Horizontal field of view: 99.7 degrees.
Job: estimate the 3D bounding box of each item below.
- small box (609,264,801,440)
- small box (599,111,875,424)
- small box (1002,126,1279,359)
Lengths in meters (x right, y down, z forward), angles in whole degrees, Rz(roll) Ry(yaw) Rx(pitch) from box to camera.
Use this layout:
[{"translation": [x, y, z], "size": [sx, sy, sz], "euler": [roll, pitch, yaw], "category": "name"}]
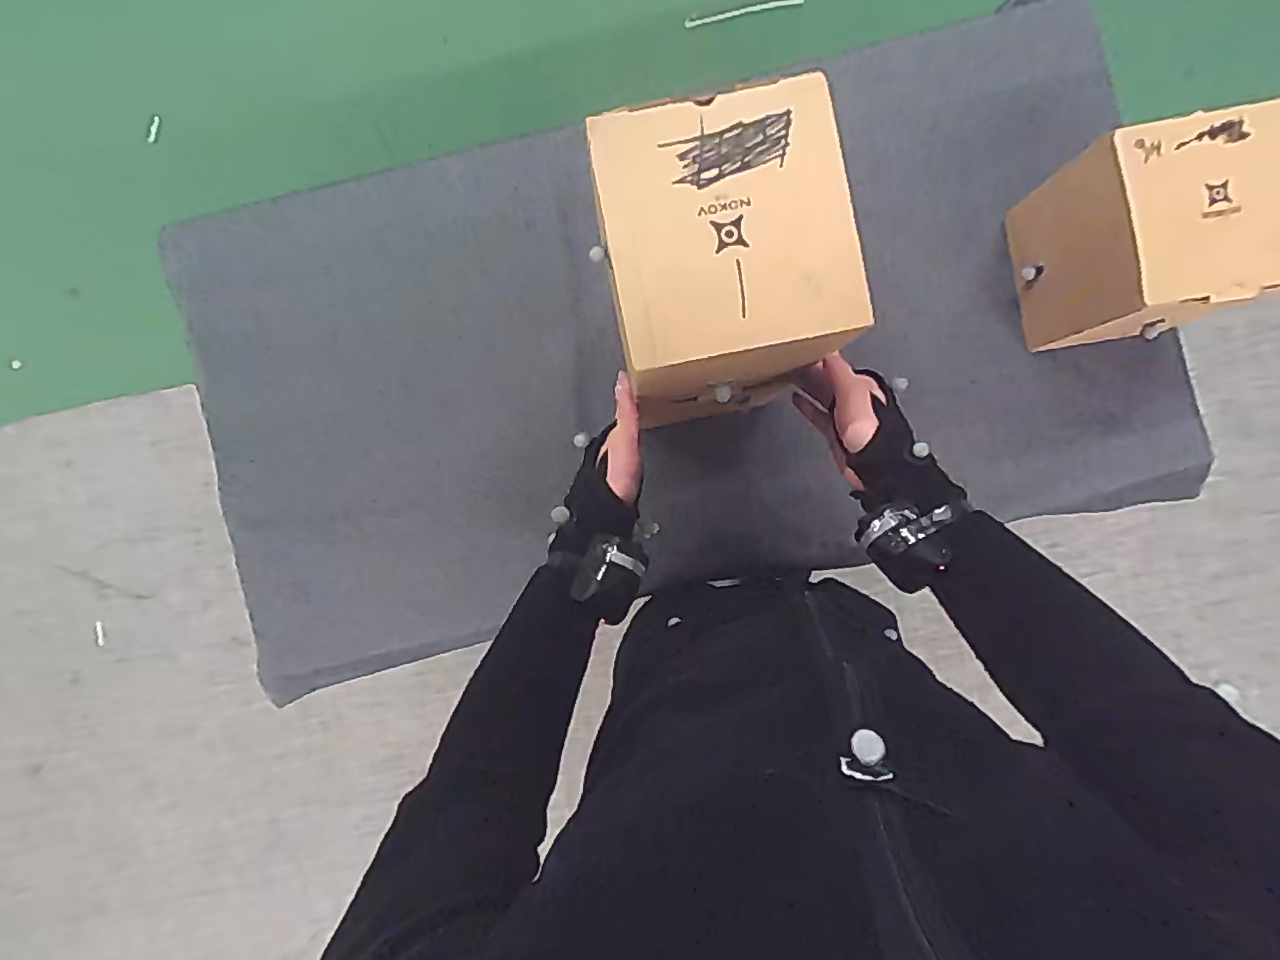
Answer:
[{"translation": [0.066, -0.146, 0.614], "size": [0.168, 0.176, 0.179], "euler": [-12, 87, 0], "category": "small box"}, {"translation": [0.065, -0.154, 0.450], "size": [0.168, 0.176, 0.179], "euler": [-12, 89, 0], "category": "small box"}, {"translation": [0.545, -0.242, 0.600], "size": [0.168, 0.176, 0.179], "euler": [-10, 89, 2], "category": "small box"}]
